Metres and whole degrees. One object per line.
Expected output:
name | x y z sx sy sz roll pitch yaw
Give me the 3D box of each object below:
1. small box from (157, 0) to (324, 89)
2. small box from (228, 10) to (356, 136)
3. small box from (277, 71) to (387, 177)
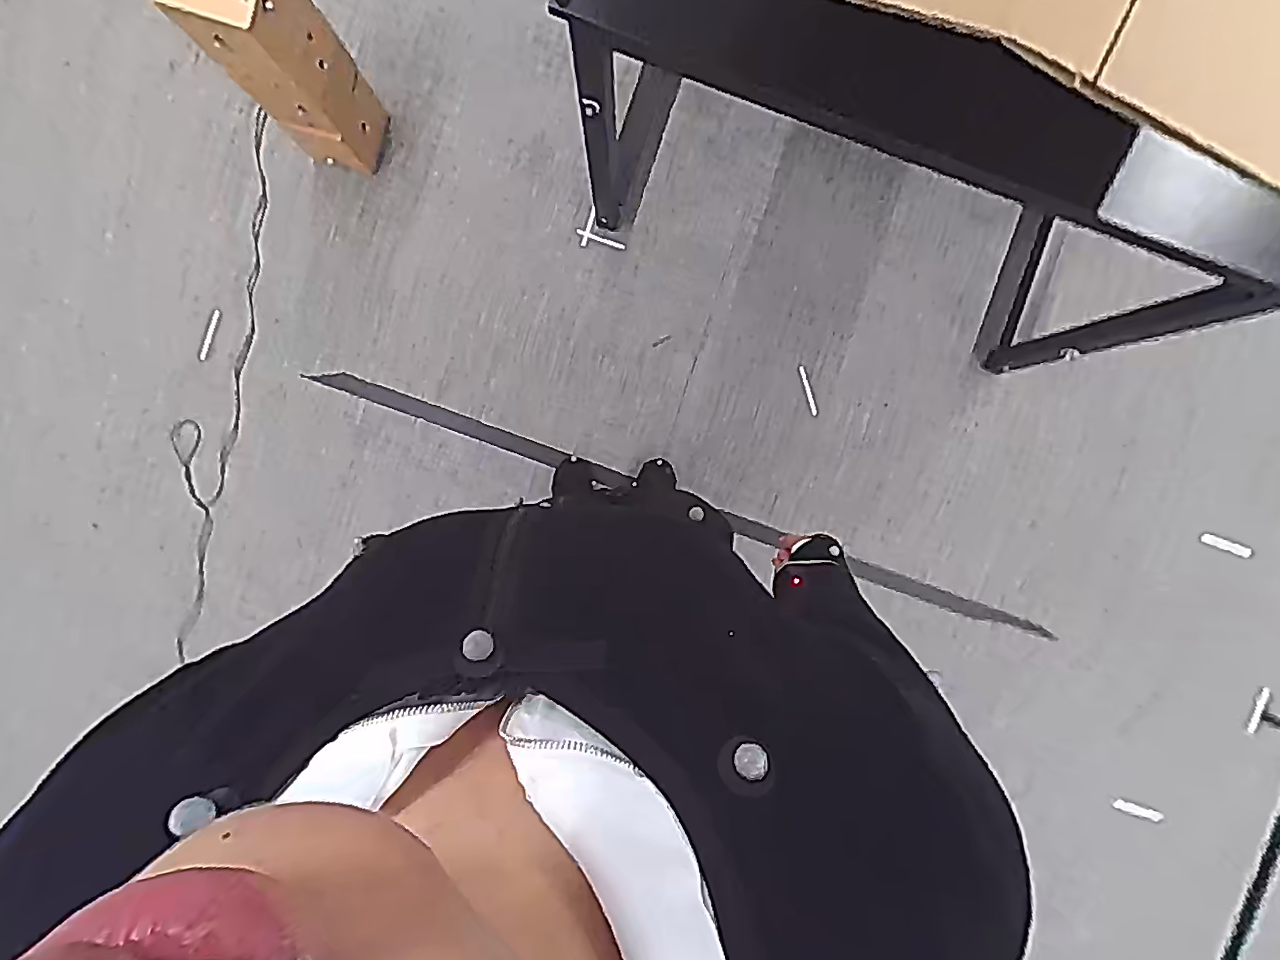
small box | -0.755 -0.900 1.038 0.179 0.176 0.168 15 92 -2
small box | -0.762 -0.910 1.201 0.168 0.176 0.179 12 90 -3
small box | -0.765 -0.910 1.364 0.168 0.176 0.179 16 93 -2
